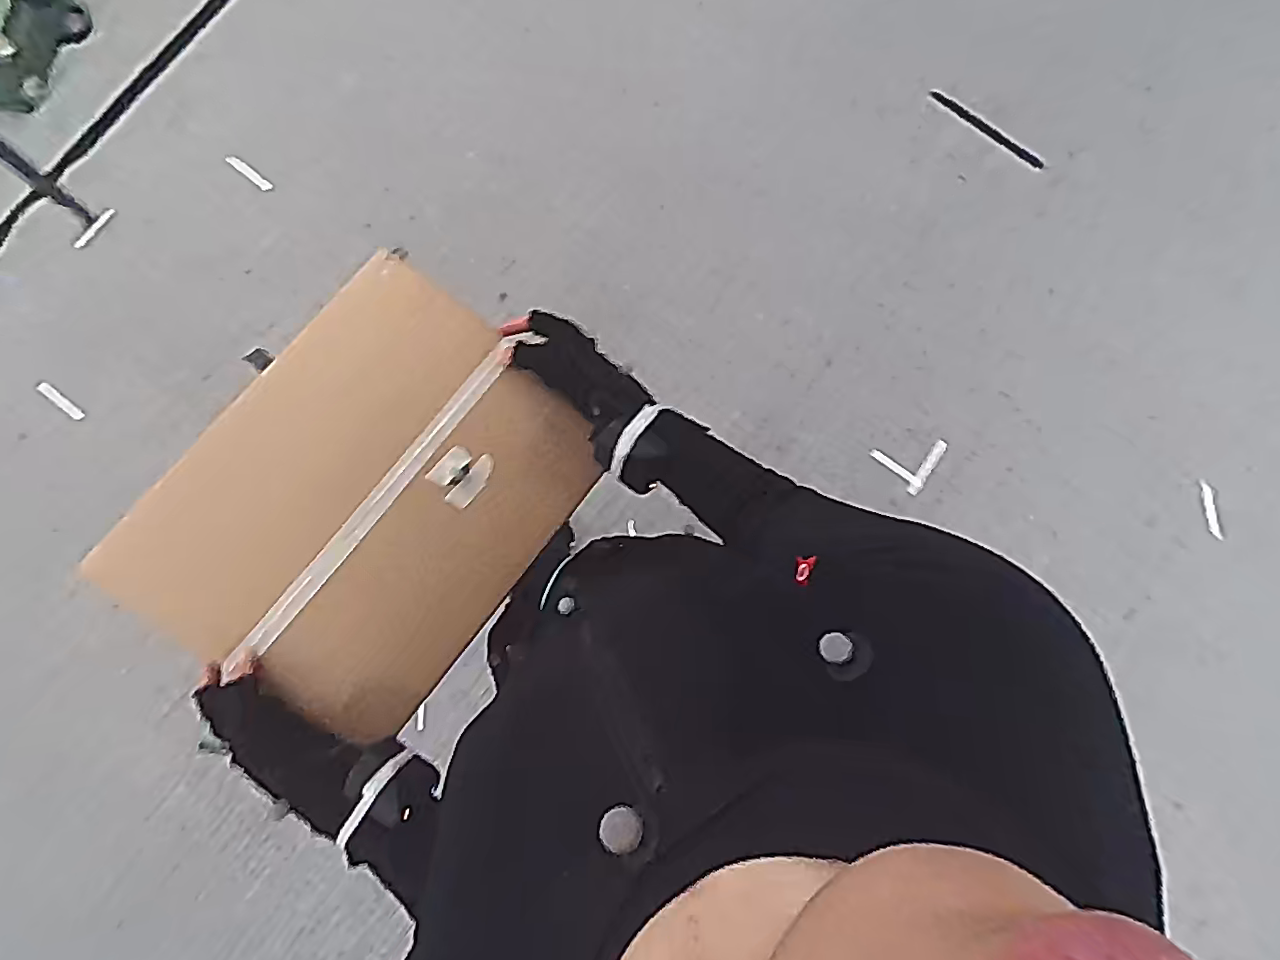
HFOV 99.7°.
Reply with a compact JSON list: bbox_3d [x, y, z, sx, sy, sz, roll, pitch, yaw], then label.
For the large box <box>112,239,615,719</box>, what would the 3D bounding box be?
[{"bbox_3d":[-0.291,0.002,0.697,0.320,0.320,0.408,40,81,-9],"label":"large box"}]
